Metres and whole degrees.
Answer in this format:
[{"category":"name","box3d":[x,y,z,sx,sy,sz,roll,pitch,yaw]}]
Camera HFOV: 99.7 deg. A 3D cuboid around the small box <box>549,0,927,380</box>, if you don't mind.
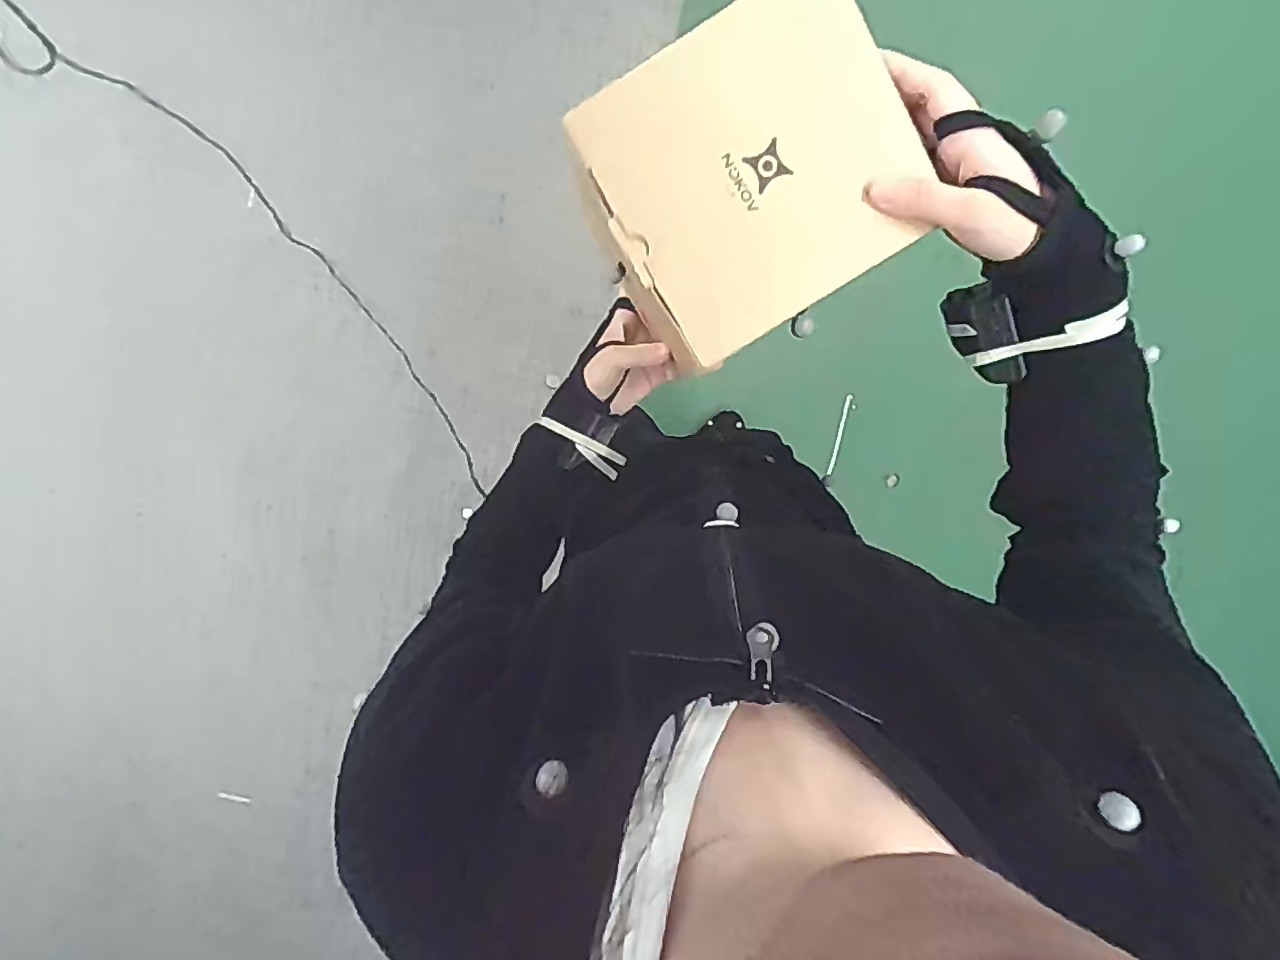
[{"category":"small box","box3d":[0.058,-0.193,0.398,0.179,0.176,0.168,-34,100,7]}]
